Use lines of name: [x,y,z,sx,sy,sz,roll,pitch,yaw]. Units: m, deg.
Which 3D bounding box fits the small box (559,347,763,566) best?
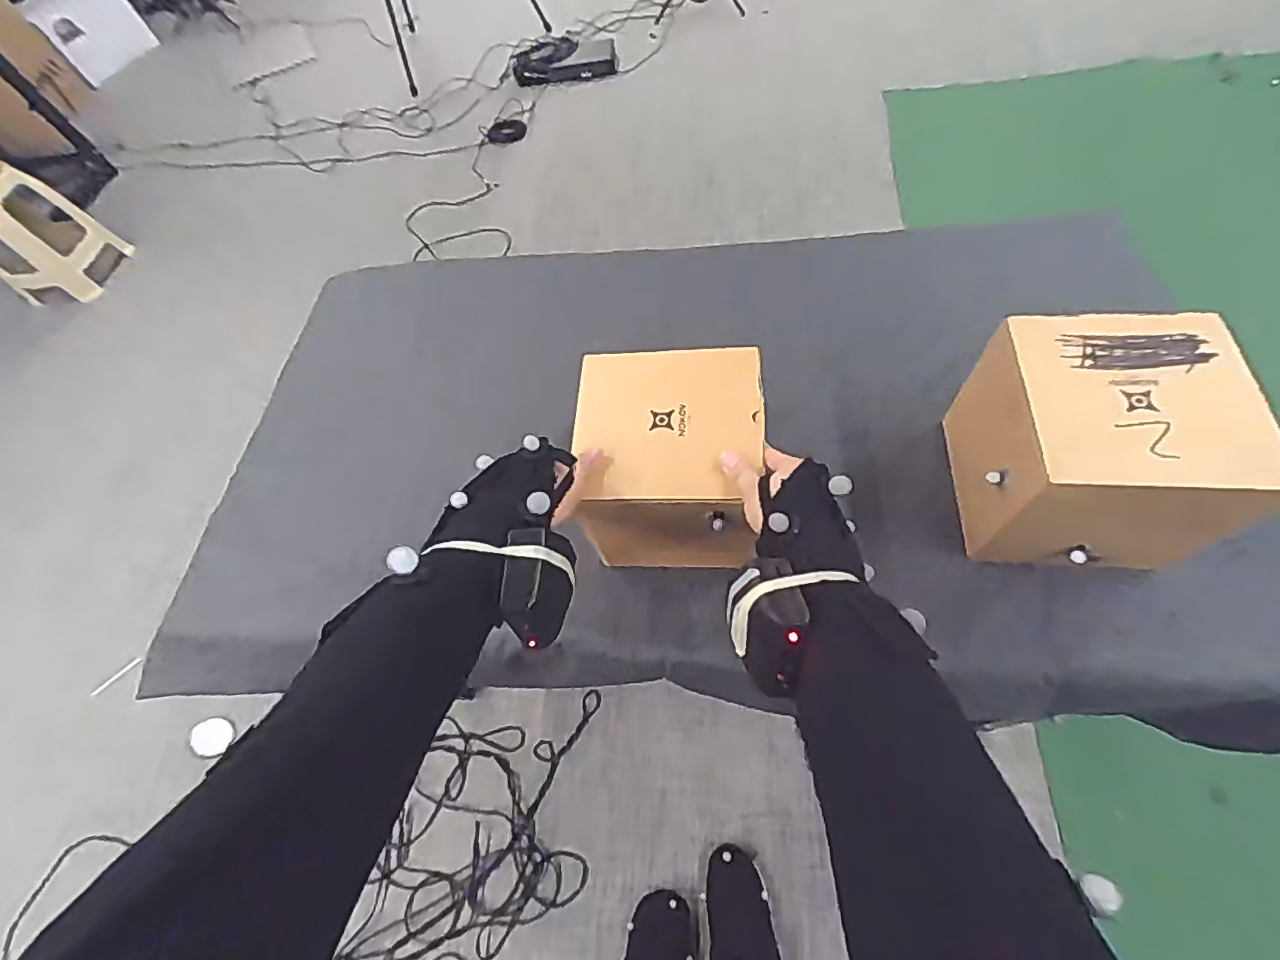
small box: [0.031,-0.016,0.559,0.179,0.176,0.168,0,61,8]
